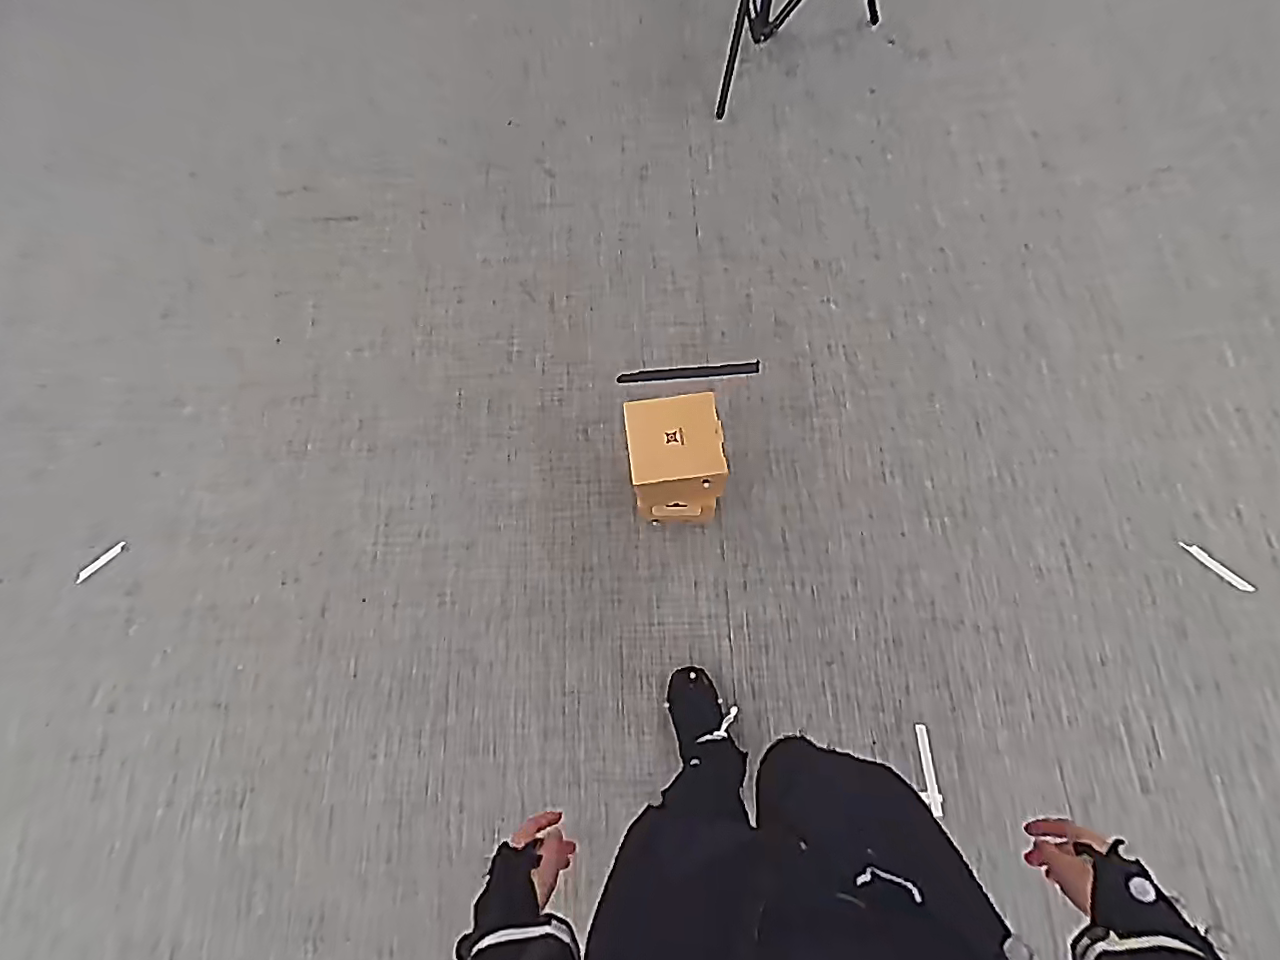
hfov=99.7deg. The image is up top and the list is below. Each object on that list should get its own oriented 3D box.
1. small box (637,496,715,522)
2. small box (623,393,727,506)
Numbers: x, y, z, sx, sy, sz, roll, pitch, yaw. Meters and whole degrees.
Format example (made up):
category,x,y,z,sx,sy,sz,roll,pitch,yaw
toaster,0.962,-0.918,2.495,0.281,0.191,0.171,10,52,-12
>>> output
category,x,y,z,sx,sy,sz,roll,pitch,yaw
small box,0.081,-0.002,1.226,0.168,0.176,0.179,-1,74,3
small box,0.068,-0.053,1.072,0.179,0.176,0.168,-8,74,1
